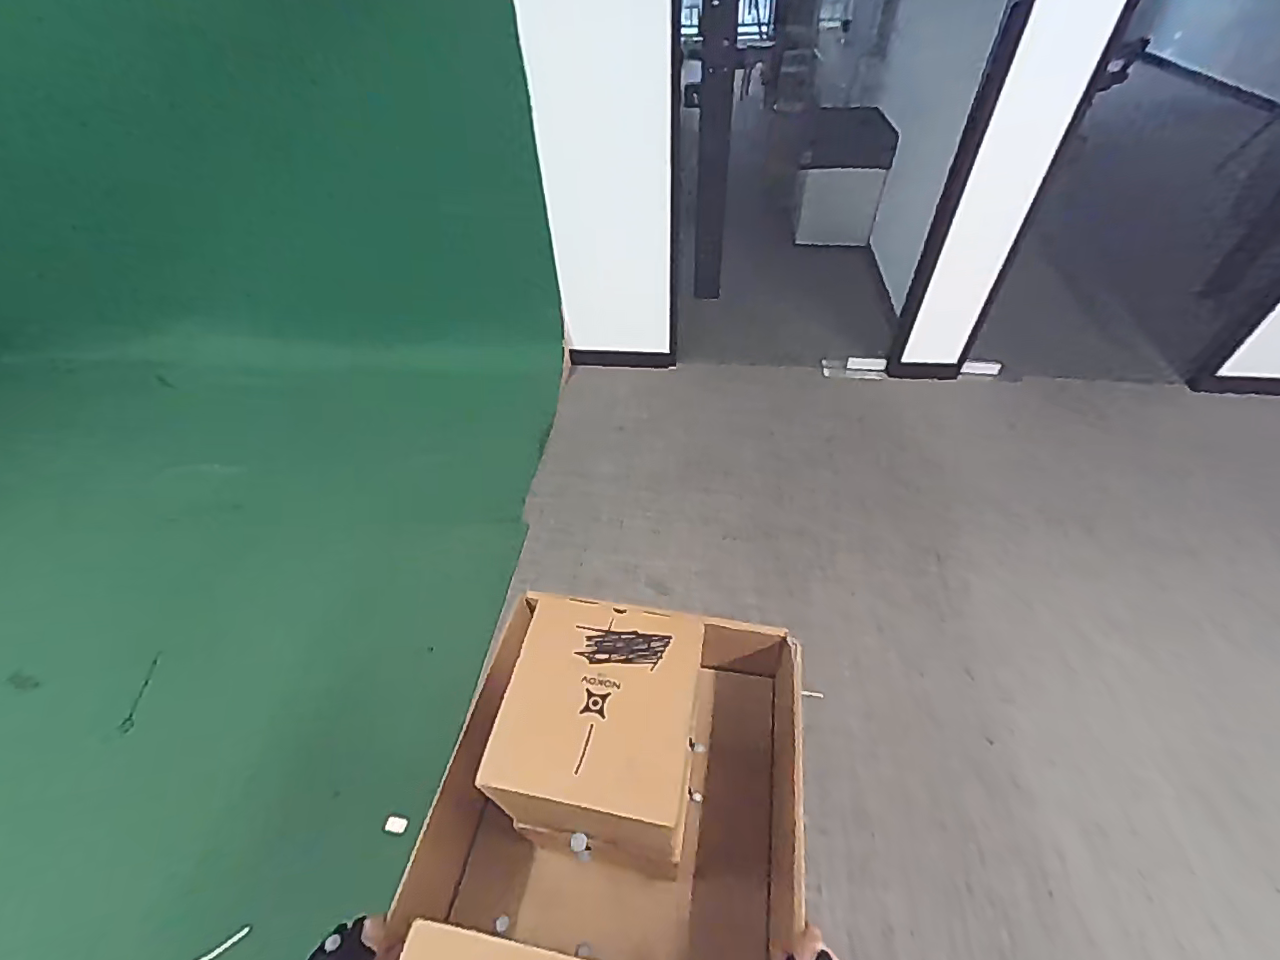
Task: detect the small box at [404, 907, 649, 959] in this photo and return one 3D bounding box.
[{"bbox_3d":[-0.083,0.427,0.375,0.179,0.176,0.168,7,47,7],"label":"small box"}]

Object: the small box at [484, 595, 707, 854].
[{"bbox_3d":[-0.031,0.245,0.542,0.168,0.176,0.179,9,50,9],"label":"small box"}]
